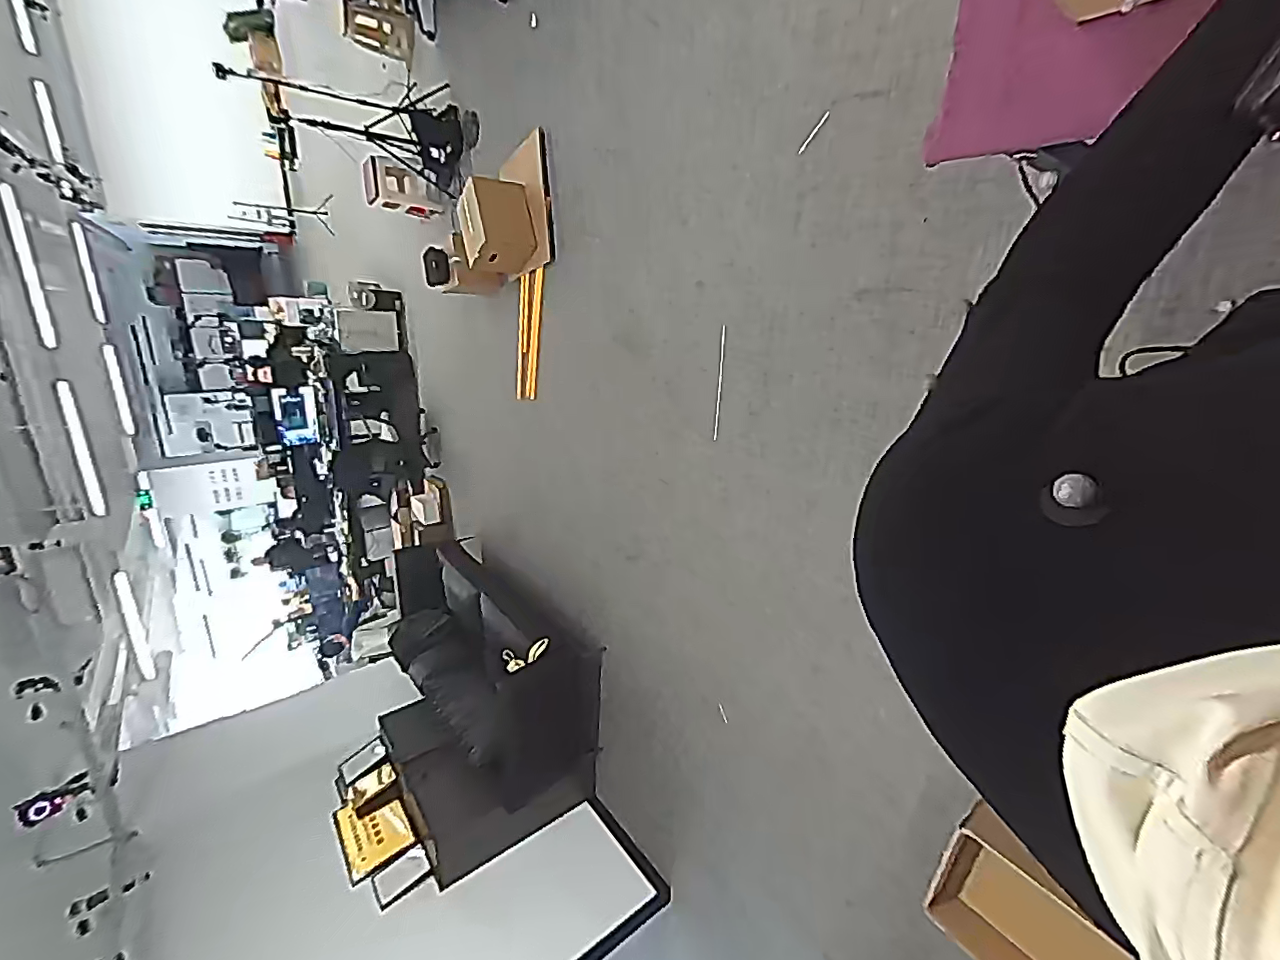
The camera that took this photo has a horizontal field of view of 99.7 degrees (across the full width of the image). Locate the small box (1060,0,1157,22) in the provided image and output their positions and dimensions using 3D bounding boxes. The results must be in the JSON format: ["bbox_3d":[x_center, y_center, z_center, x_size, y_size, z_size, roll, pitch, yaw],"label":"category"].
[{"bbox_3d":[0.545,-0.634,0.564,0.168,0.176,0.179,22,117,49],"label":"small box"}]
